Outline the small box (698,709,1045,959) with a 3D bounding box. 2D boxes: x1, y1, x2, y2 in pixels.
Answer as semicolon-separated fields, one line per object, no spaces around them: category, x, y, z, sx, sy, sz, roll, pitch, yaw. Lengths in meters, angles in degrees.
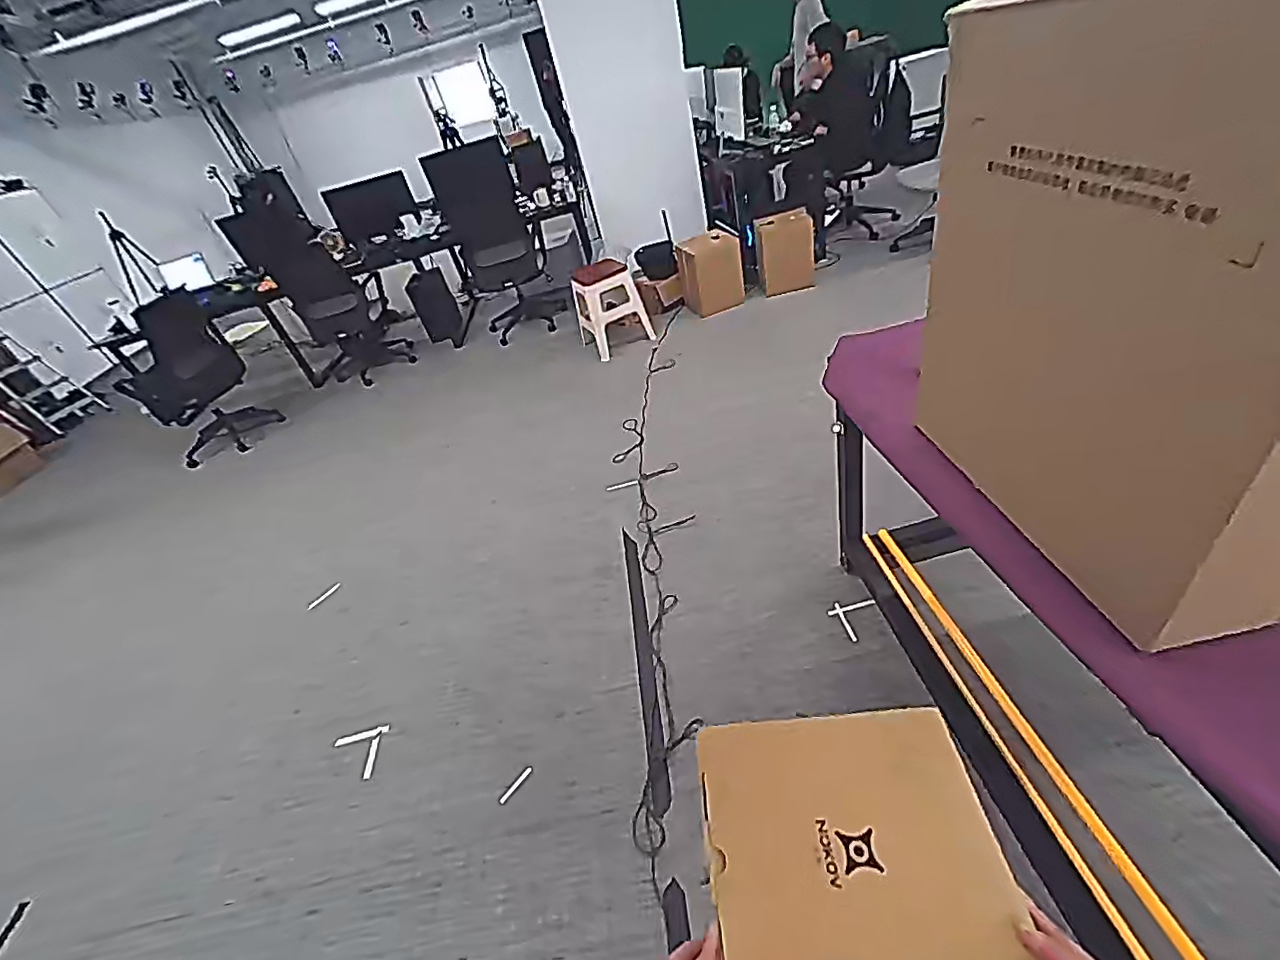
small box;0.139;0.285;0.388;0.179;0.176;0.168;-7;43;3
